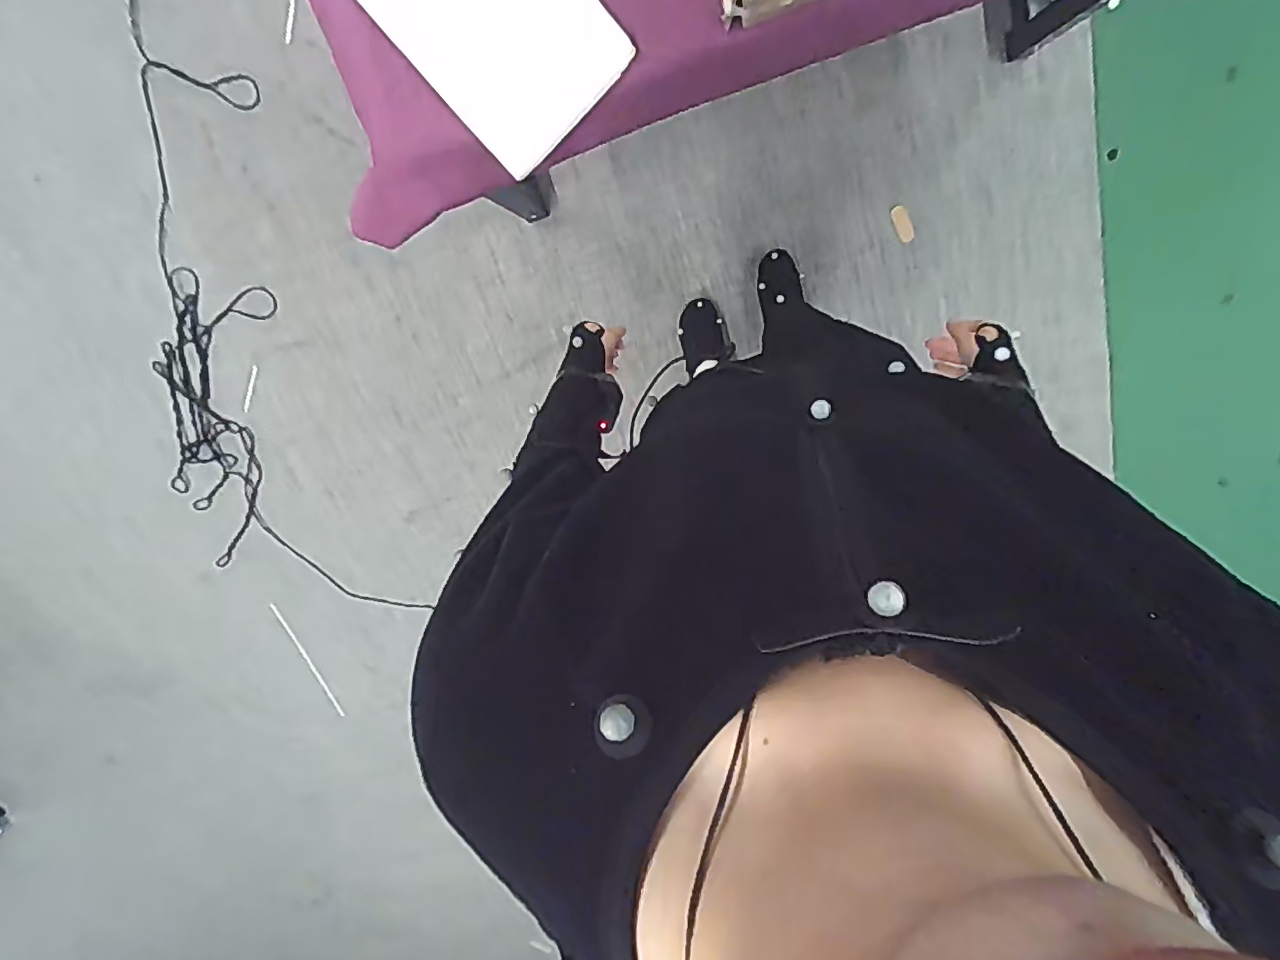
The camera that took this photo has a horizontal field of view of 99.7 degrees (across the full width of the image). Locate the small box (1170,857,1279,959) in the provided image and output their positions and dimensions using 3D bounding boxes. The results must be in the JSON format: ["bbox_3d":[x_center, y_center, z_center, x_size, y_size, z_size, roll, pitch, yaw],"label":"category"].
[{"bbox_3d":[1.338,0.989,1.194,0.179,0.176,0.168,-31,103,11],"label":"small box"}]

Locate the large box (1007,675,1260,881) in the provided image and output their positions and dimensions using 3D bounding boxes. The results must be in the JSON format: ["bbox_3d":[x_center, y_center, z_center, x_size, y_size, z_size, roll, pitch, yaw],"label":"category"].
[{"bbox_3d":[1.402,0.853,1.576,0.408,0.320,0.320,-31,105,10],"label":"large box"}]

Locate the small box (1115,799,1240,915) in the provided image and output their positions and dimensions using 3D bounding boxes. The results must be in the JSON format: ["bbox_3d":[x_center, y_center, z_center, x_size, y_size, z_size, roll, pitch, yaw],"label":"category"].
[{"bbox_3d":[1.347,0.936,1.349,0.168,0.176,0.179,-30,104,12],"label":"small box"}]
